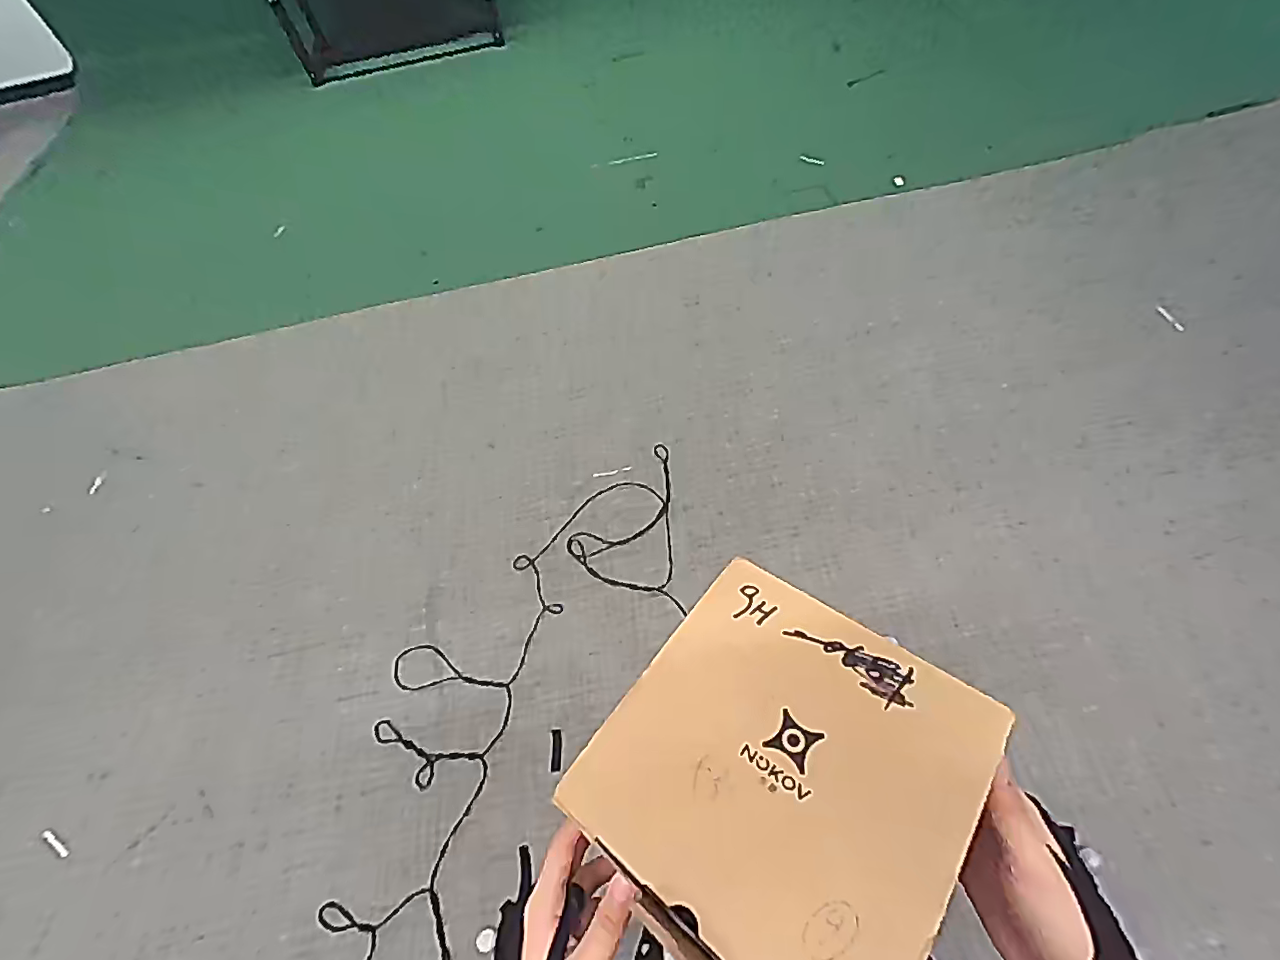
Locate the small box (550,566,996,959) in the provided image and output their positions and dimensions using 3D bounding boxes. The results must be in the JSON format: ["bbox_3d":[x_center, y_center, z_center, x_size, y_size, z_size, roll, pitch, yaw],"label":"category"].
[{"bbox_3d":[0.078,0.195,0.337,0.168,0.176,0.179,28,59,29],"label":"small box"}]
